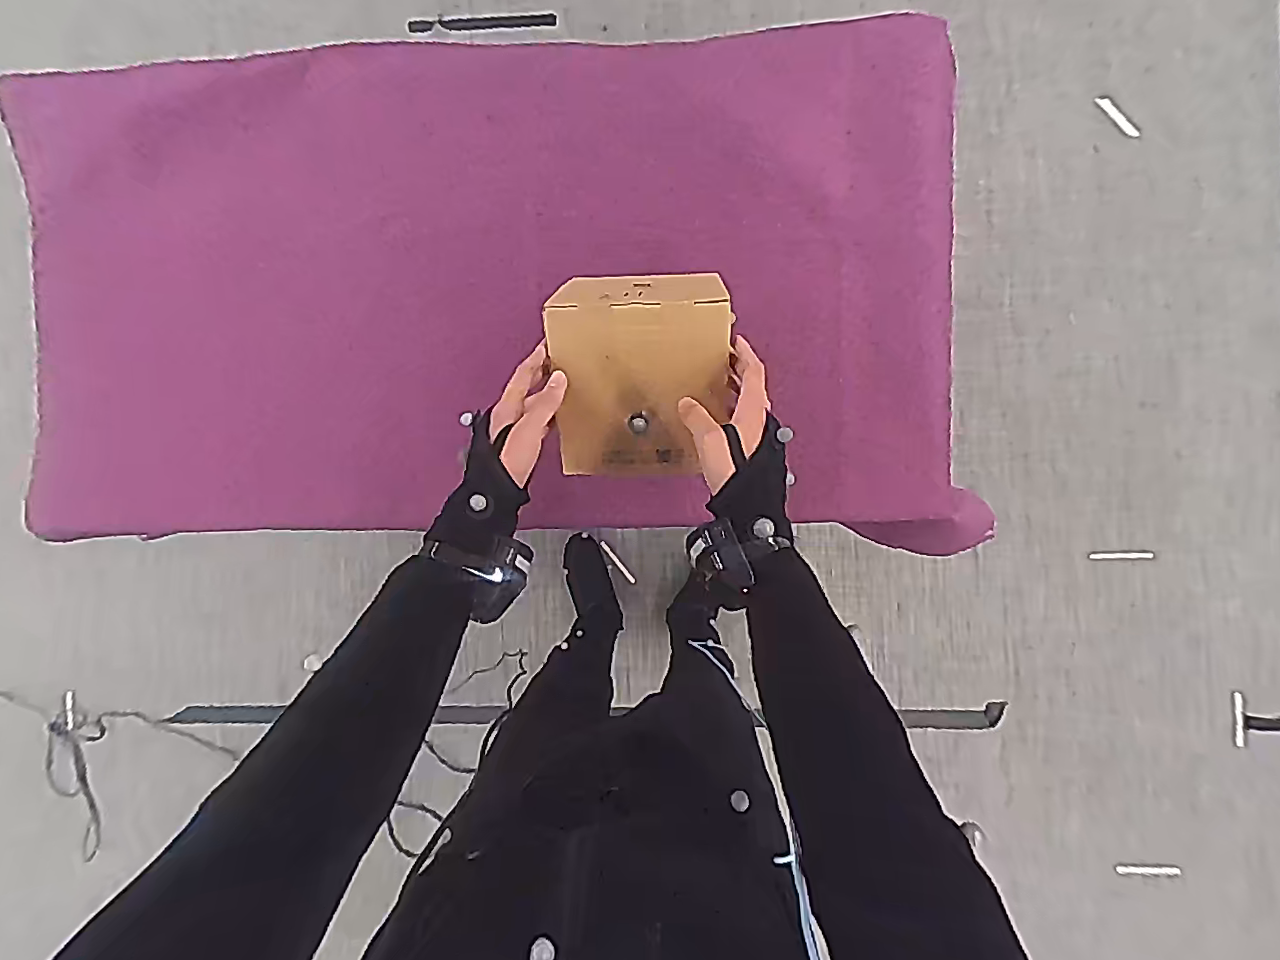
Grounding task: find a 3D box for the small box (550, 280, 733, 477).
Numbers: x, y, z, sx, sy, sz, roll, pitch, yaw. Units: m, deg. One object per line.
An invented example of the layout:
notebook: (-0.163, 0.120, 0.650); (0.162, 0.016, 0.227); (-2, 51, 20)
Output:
small box: (0.008, -0.116, 0.584); (0.168, 0.179, 0.176); (0, 118, 4)
